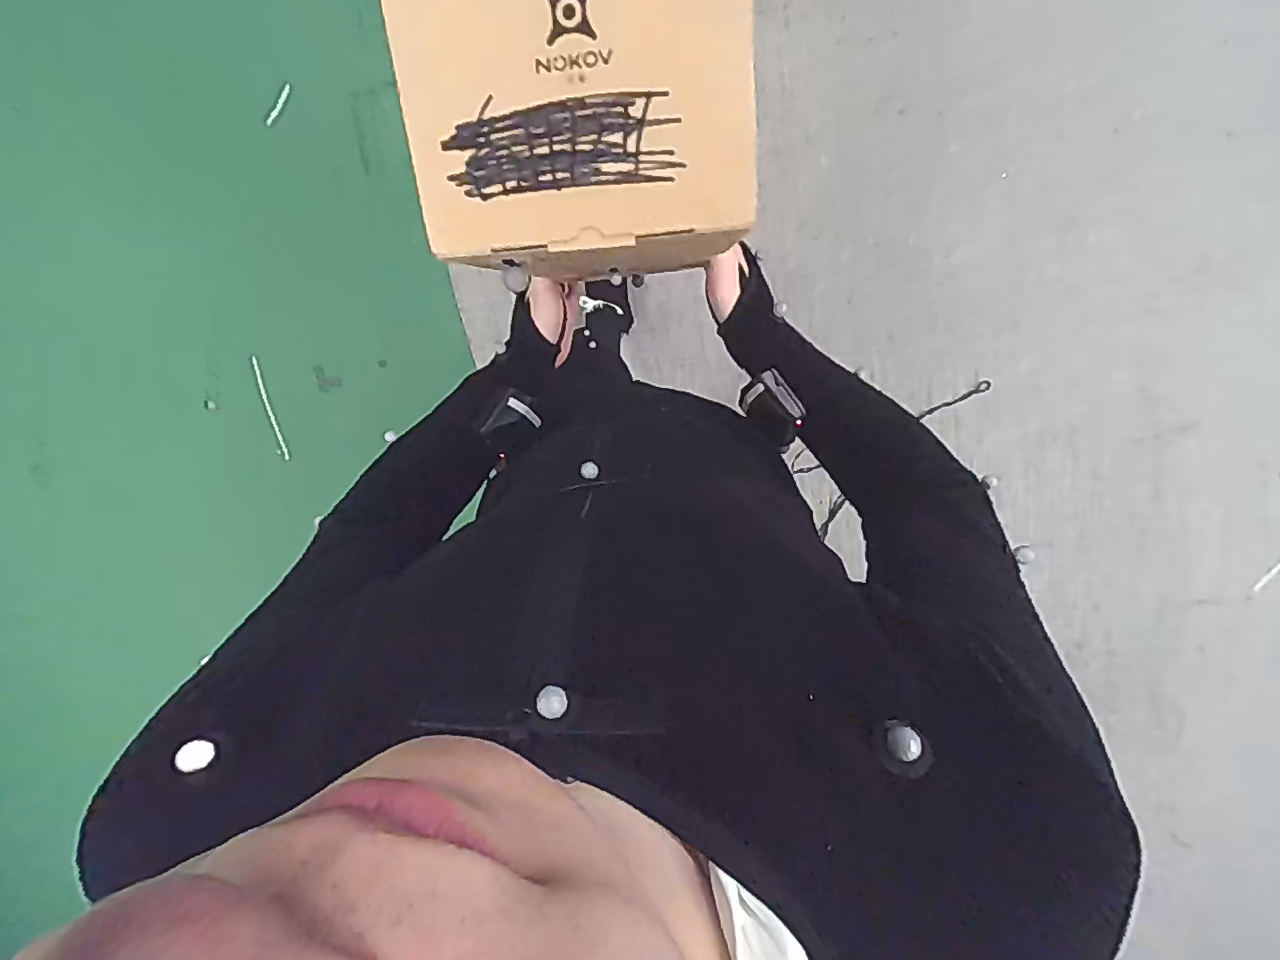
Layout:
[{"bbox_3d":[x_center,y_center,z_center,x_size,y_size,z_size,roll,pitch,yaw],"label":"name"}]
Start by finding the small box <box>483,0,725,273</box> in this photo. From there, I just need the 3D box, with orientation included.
[{"bbox_3d":[-0.020,-0.287,0.474,0.168,0.176,0.179,-5,108,5],"label":"small box"}]
